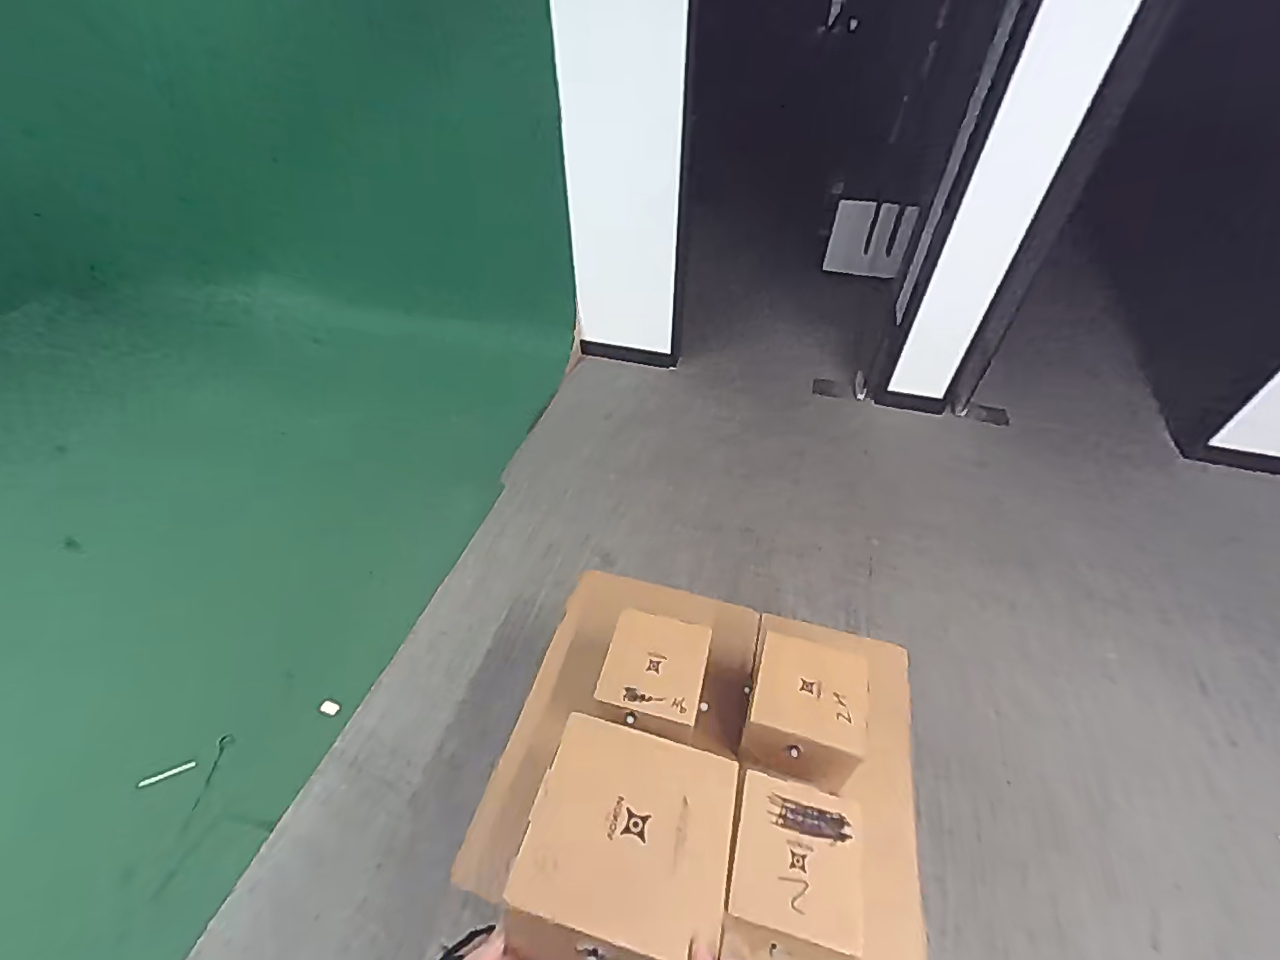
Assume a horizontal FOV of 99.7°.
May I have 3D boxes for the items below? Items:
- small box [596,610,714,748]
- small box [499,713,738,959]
[{"bbox_3d":[0.029,0.363,0.951,0.168,0.176,0.179,10,45,12],"label":"small box"},{"bbox_3d":[-0.017,0.365,0.522,0.179,0.176,0.168,14,37,9],"label":"small box"}]
